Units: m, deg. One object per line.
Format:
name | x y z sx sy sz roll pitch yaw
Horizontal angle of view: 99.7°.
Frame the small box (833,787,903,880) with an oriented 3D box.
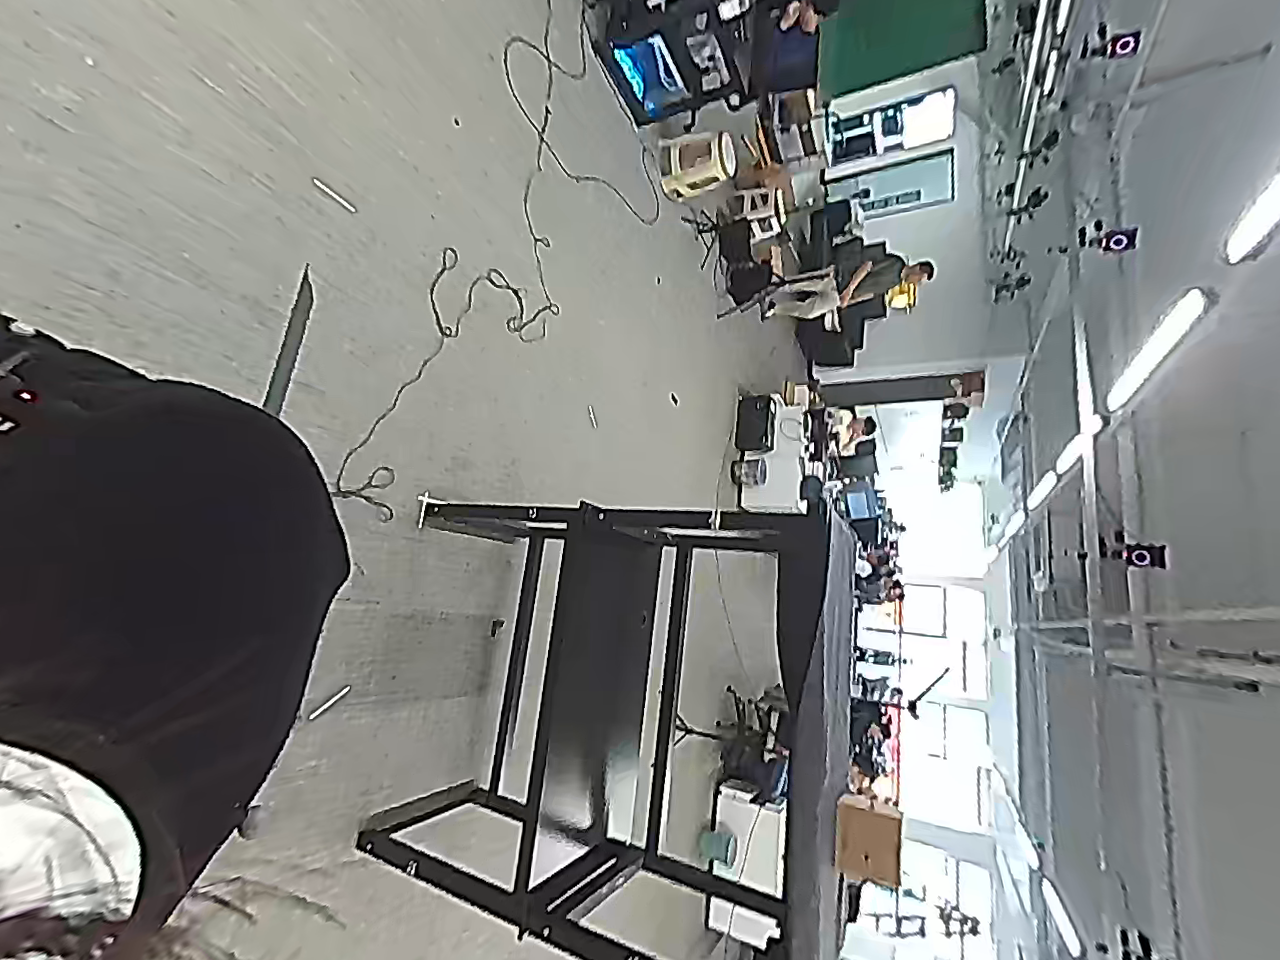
small box | 0.647 0.990 1.529 0.179 0.176 0.168 37 59 -57
